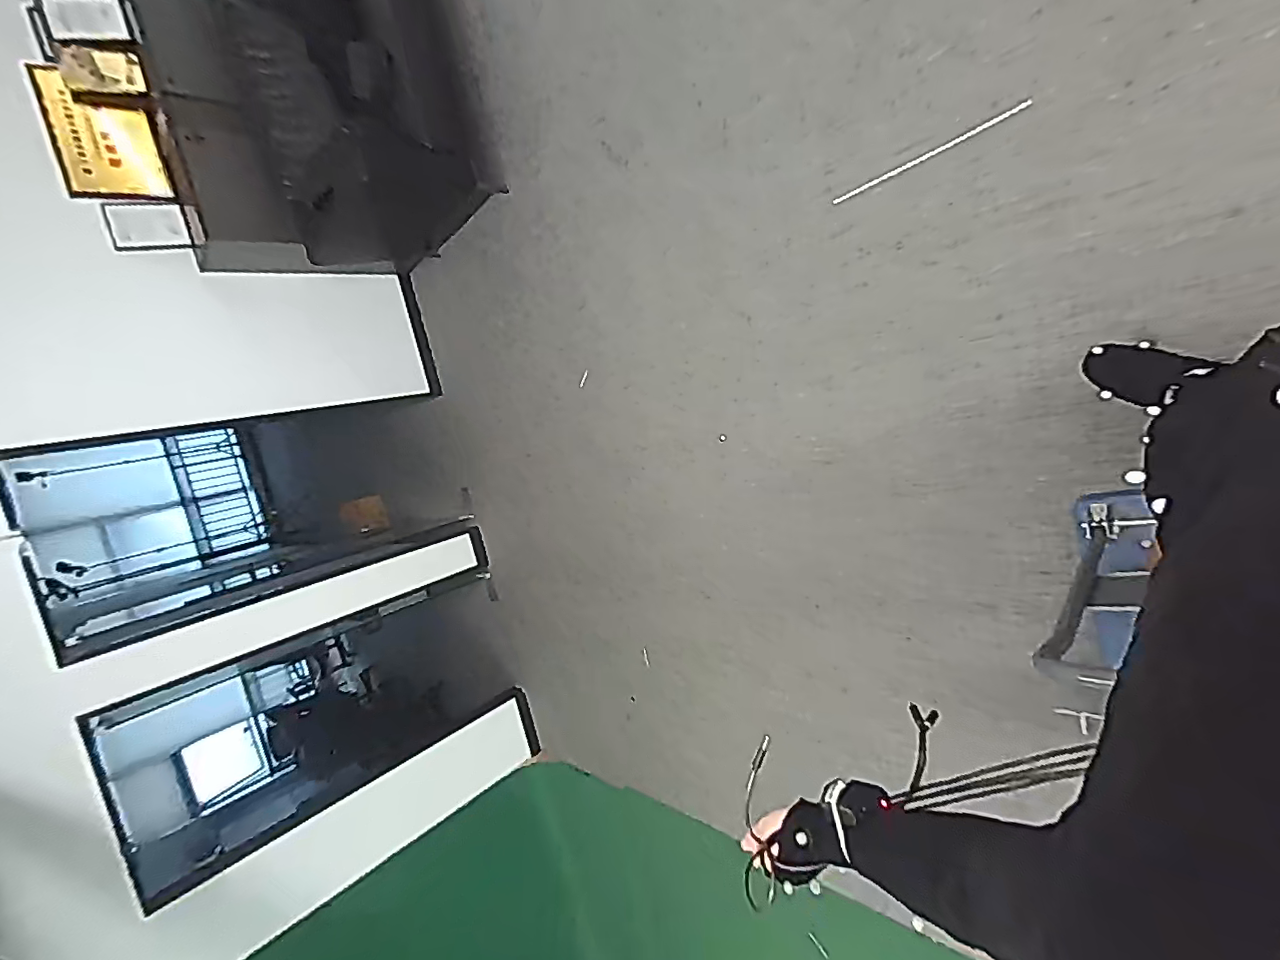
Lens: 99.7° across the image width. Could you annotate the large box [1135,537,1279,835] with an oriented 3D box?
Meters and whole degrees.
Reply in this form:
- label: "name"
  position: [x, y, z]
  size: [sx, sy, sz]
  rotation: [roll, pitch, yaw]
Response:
- label: "large box"
  position: [1.105, 0.333, 0.921]
  size: [0.320, 0.320, 0.408]
  rotation: [-13, 95, 48]
